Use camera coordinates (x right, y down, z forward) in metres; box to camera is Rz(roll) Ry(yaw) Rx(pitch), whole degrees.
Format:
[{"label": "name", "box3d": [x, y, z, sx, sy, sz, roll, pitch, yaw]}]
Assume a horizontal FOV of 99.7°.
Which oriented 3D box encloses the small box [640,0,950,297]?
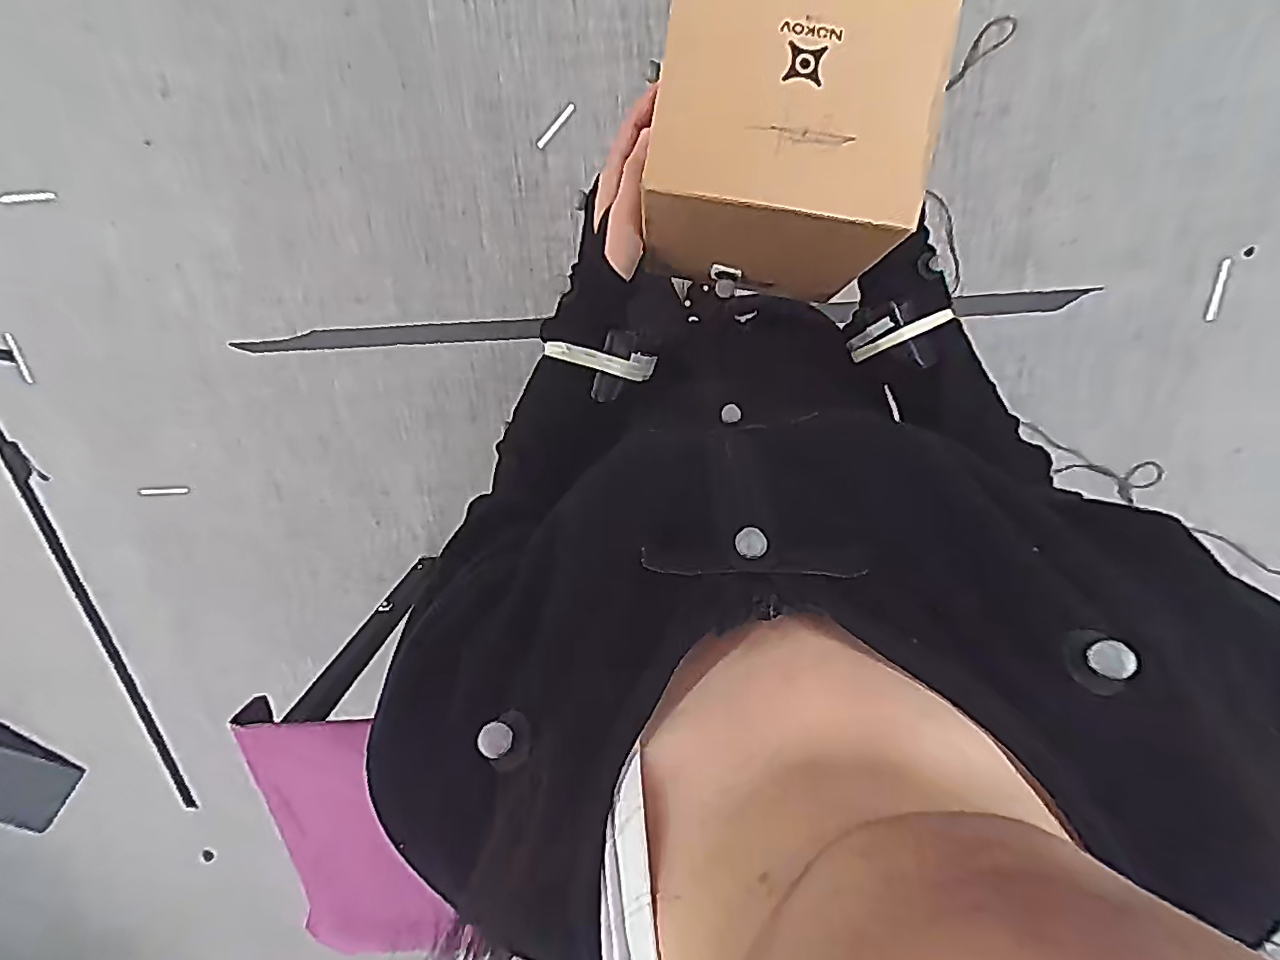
[{"label": "small box", "box3d": [0.094, -0.254, 0.398, 0.168, 0.176, 0.179, 9, 94, 1]}]
